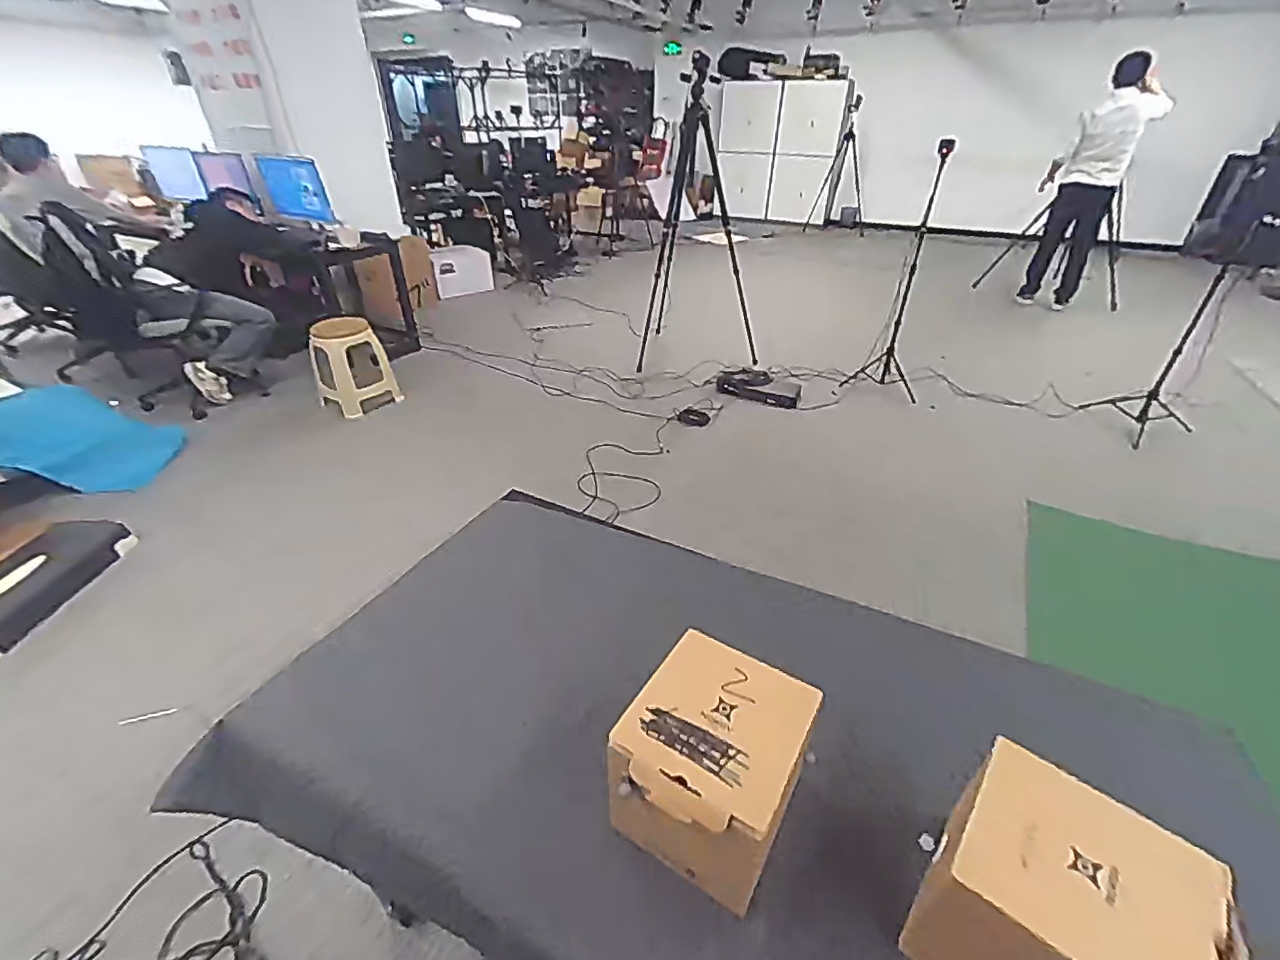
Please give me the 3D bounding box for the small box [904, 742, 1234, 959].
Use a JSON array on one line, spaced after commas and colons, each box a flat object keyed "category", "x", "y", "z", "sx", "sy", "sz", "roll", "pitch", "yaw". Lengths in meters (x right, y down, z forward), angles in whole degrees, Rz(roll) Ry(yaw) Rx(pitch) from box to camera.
[{"category": "small box", "x": 0.372, "y": 0.392, "z": 0.489, "sx": 0.179, "sy": 0.176, "sz": 0.168, "roll": 25, "pitch": 40, "yaw": 34}]
